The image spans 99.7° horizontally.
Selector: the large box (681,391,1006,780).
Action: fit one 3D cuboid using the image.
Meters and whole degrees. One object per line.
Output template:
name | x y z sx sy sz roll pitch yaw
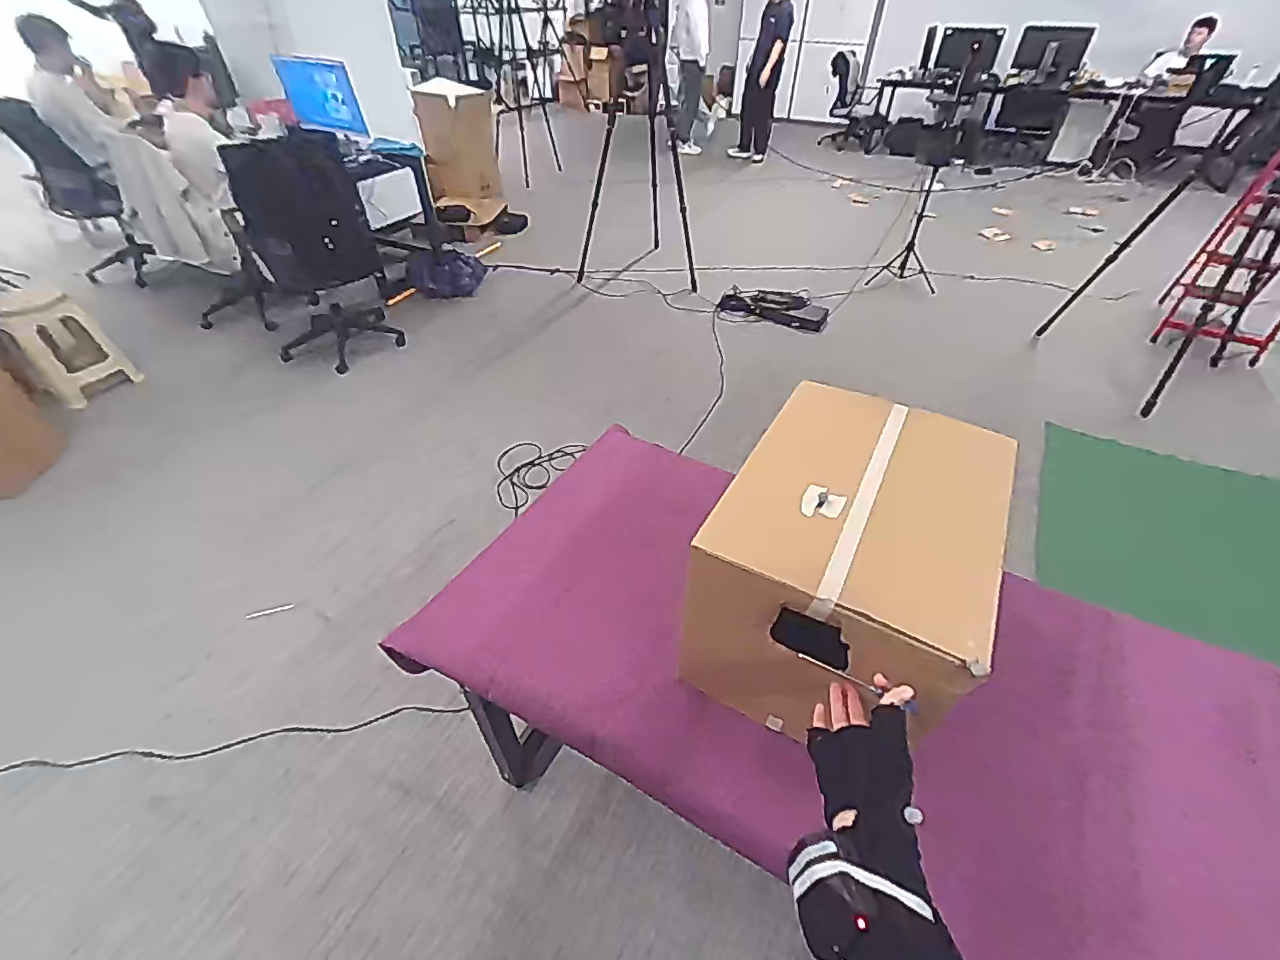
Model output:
large box | 0.290 0.132 0.803 0.320 0.320 0.408 22 48 22
